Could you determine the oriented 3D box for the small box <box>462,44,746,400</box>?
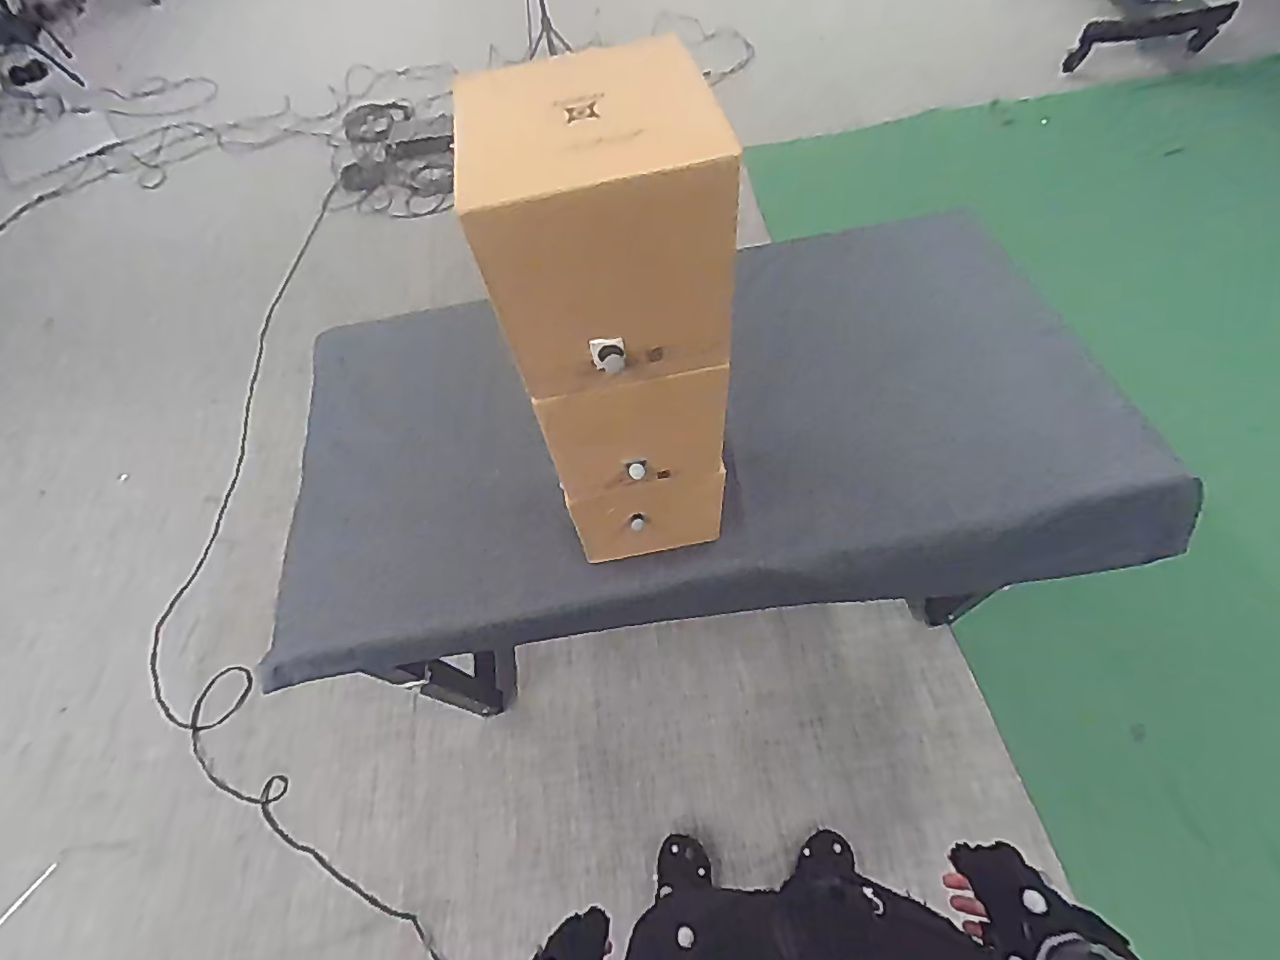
[{"bbox_3d":[-0.026,-0.190,0.417,0.168,0.176,0.179,-12,59,-1],"label":"small box"}]

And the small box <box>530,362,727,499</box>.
[{"bbox_3d":[-0.015,-0.104,0.553,0.168,0.176,0.179,-10,58,-1],"label":"small box"}]

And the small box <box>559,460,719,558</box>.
[{"bbox_3d":[-0.003,-0.014,0.690,0.179,0.176,0.168,-10,58,-1],"label":"small box"}]
